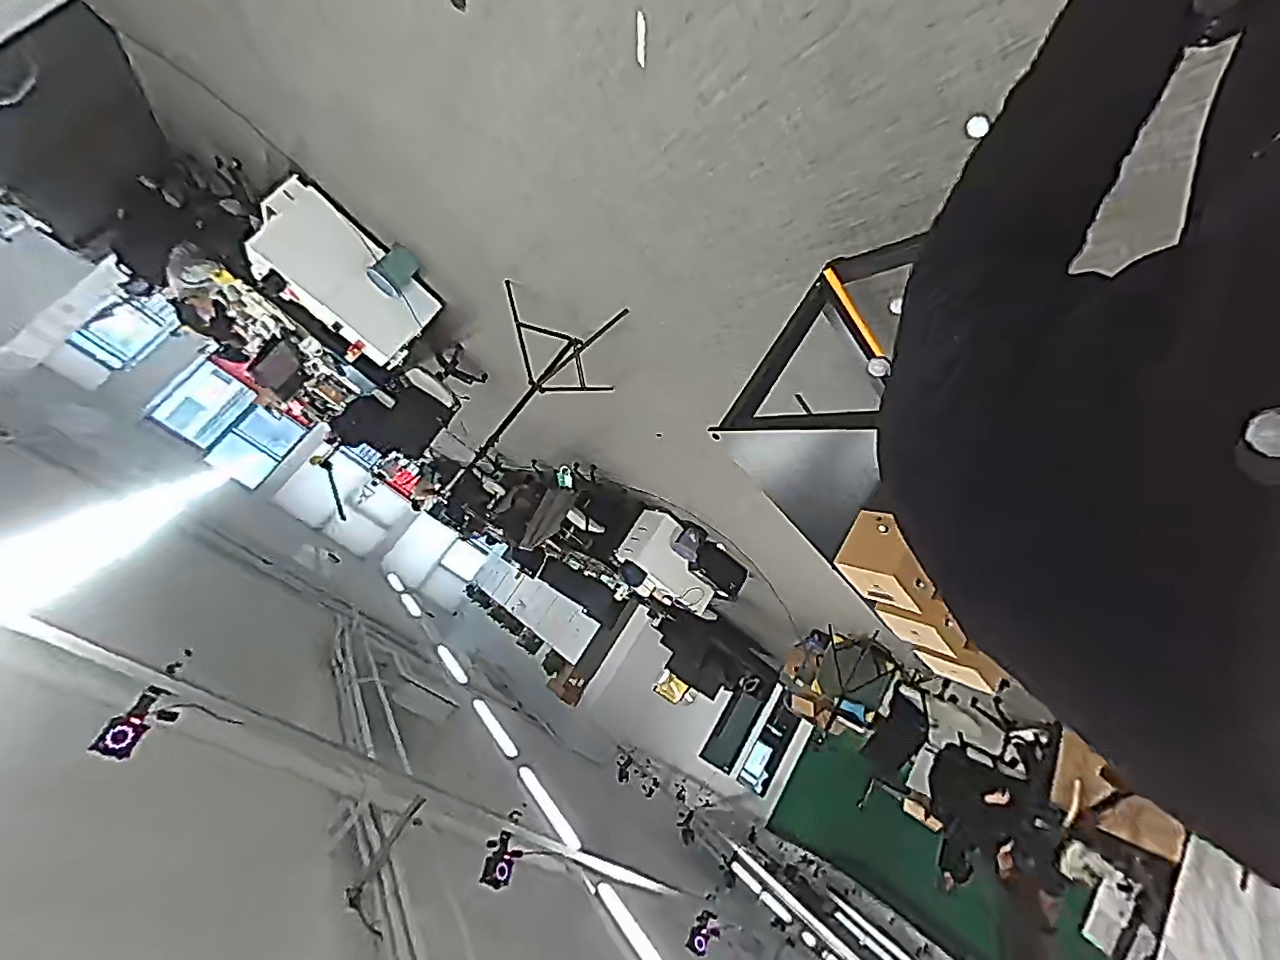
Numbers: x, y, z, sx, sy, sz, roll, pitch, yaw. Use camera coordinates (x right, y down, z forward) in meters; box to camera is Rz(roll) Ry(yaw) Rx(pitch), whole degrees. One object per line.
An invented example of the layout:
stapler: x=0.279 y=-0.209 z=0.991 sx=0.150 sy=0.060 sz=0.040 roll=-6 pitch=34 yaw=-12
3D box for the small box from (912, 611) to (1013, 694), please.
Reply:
small box: x=0.927 y=0.474 z=1.554 sx=0.168 sy=0.176 sz=0.179 roll=41 pitch=162 yaw=-28

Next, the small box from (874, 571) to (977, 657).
small box: x=0.776 y=0.343 z=1.464 sx=0.179 sy=0.176 sz=0.168 roll=43 pitch=162 yaw=-29

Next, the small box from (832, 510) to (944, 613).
small box: x=0.622 y=0.198 z=1.347 sx=0.179 sy=0.176 sz=0.168 roll=44 pitch=162 yaw=-28
